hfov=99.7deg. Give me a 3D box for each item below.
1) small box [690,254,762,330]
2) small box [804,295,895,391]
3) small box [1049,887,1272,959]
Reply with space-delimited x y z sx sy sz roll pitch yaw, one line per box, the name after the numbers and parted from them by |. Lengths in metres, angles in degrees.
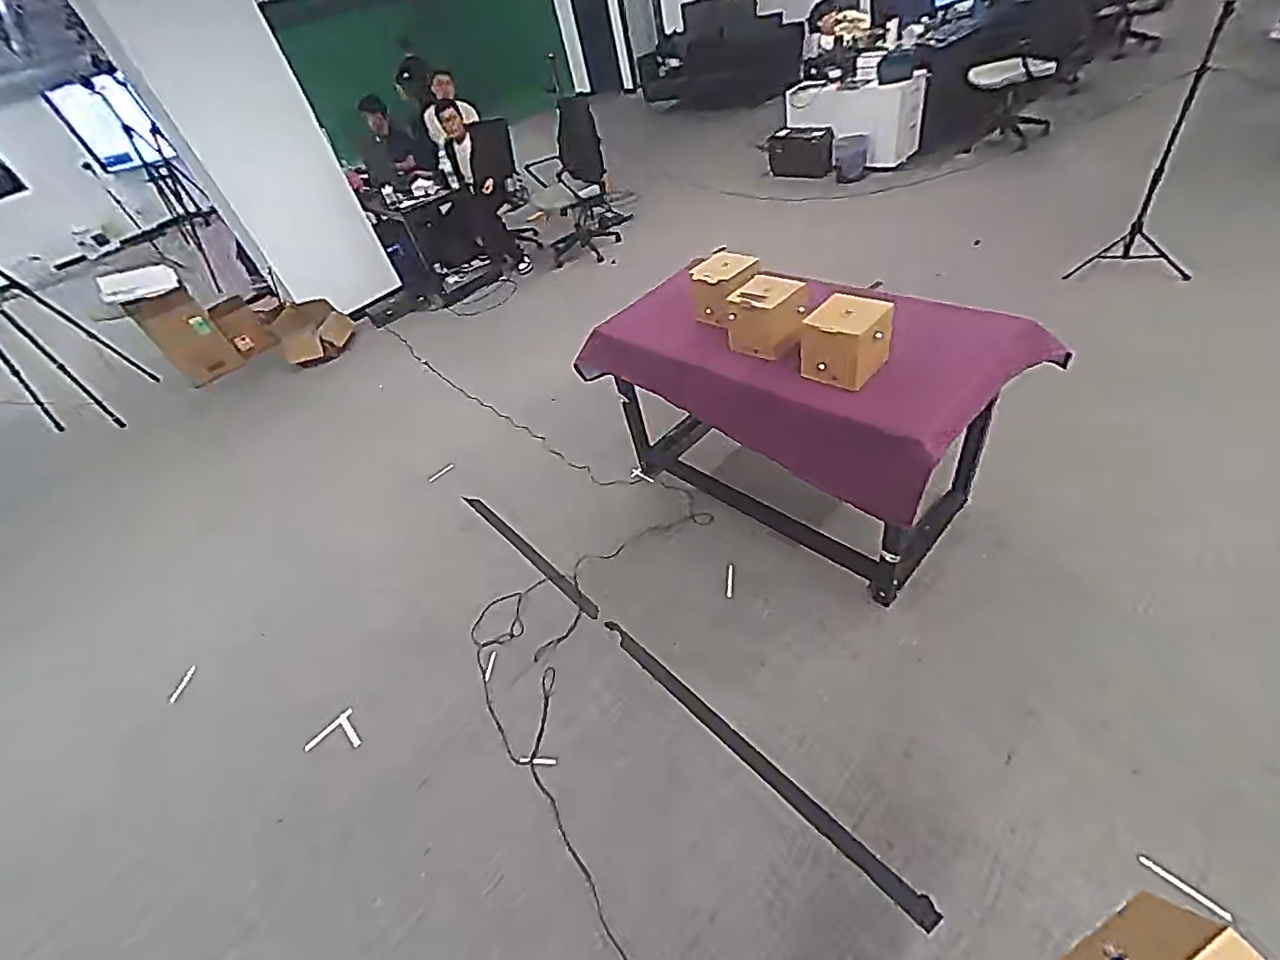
0.290 -0.626 1.800 0.179 0.176 0.168 -40 47 -23 | small box
0.553 -0.368 1.448 0.168 0.176 0.179 28 58 38 | small box
0.474 0.490 0.454 0.179 0.176 0.168 -39 56 -2 | small box
